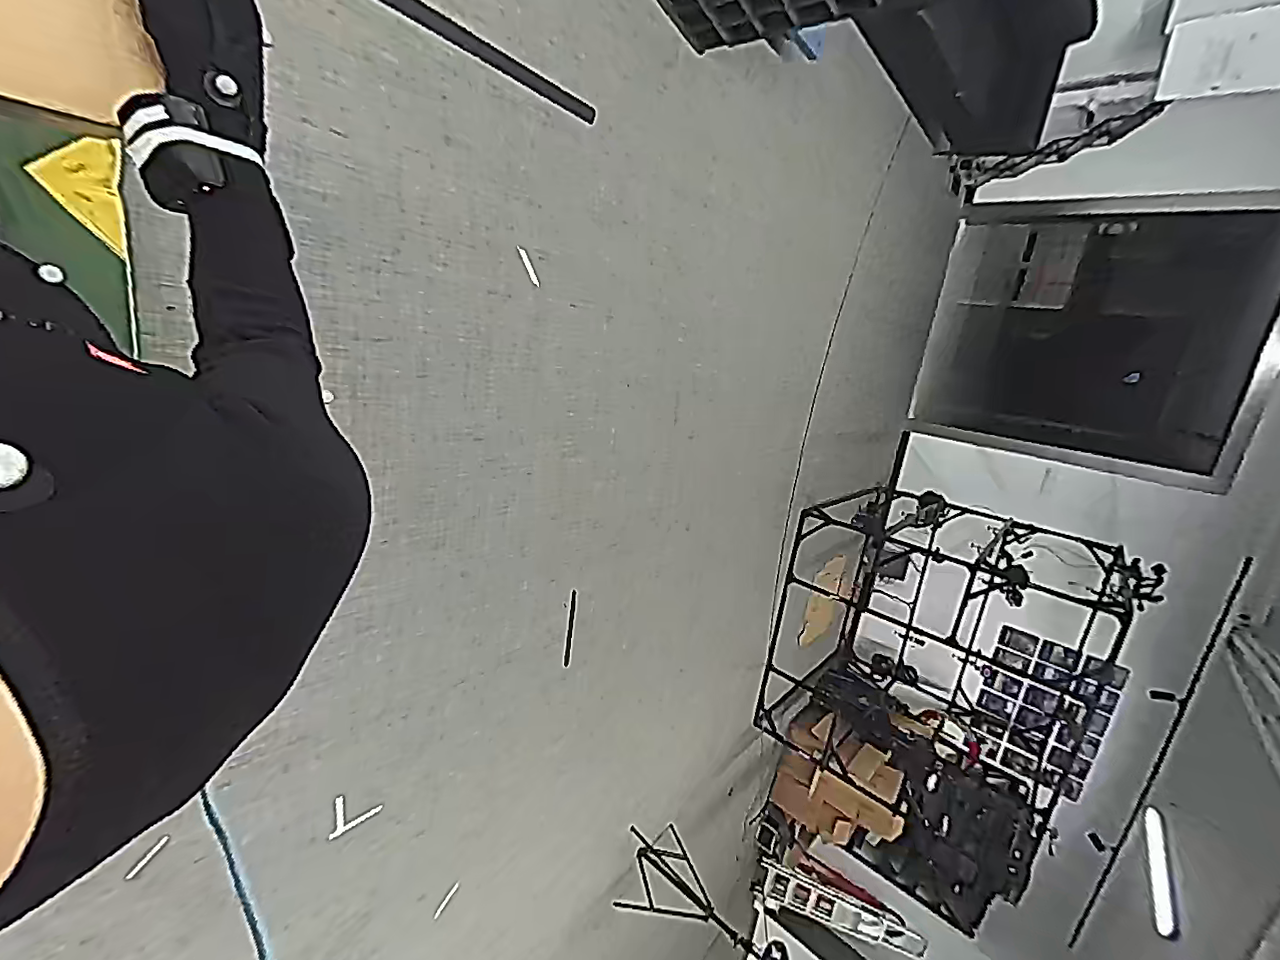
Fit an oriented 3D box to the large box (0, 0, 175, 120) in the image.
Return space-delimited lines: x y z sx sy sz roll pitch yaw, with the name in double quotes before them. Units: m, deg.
"large box" -0.588 -0.455 0.319 0.408 0.320 0.320 -14 123 -50
